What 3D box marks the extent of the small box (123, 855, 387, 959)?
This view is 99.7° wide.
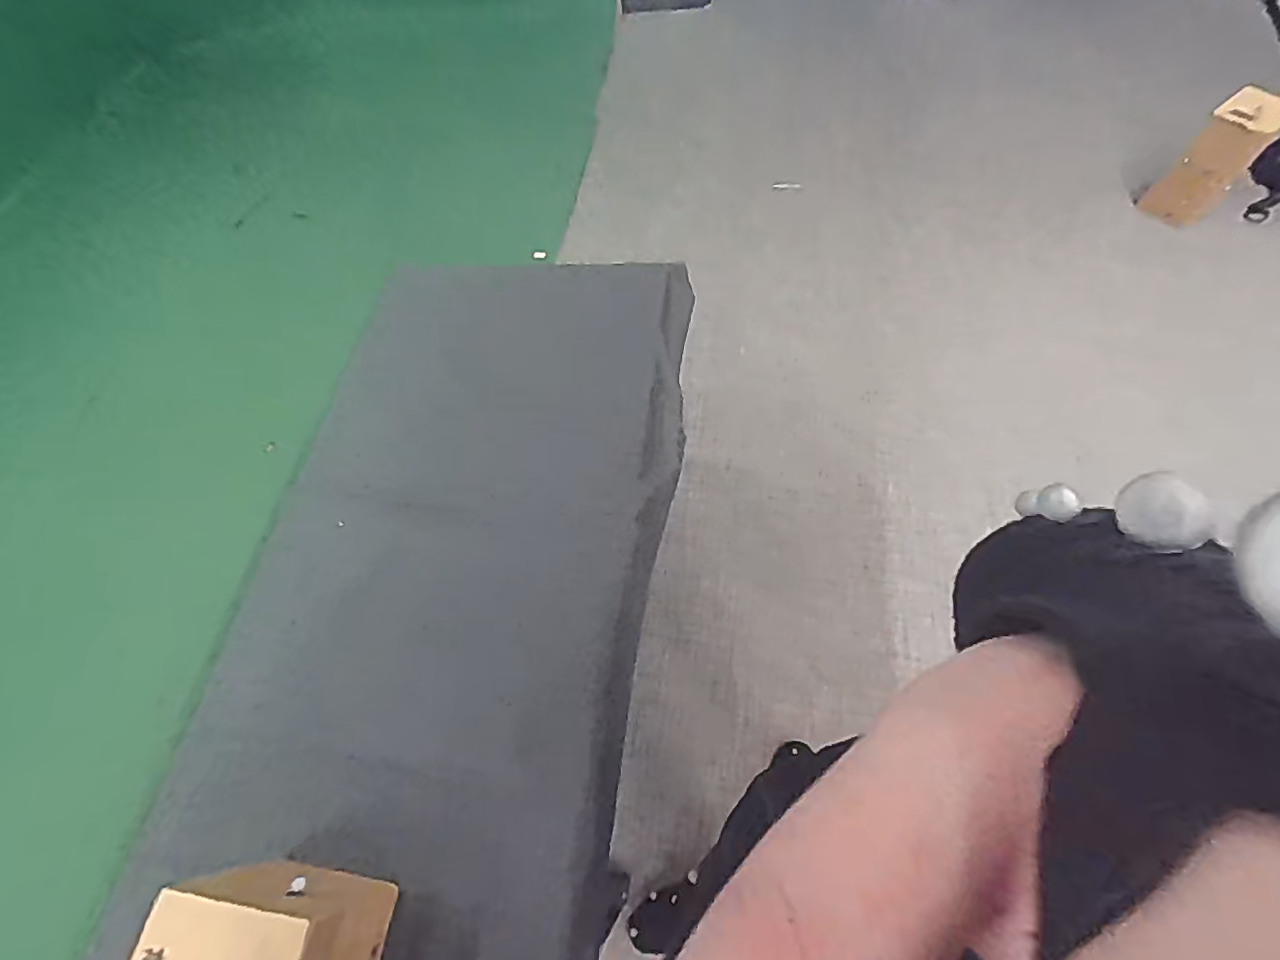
[{"bbox_3d":[-0.405,0.516,0.570,0.179,0.176,0.168,5,63,8],"label":"small box"}]
